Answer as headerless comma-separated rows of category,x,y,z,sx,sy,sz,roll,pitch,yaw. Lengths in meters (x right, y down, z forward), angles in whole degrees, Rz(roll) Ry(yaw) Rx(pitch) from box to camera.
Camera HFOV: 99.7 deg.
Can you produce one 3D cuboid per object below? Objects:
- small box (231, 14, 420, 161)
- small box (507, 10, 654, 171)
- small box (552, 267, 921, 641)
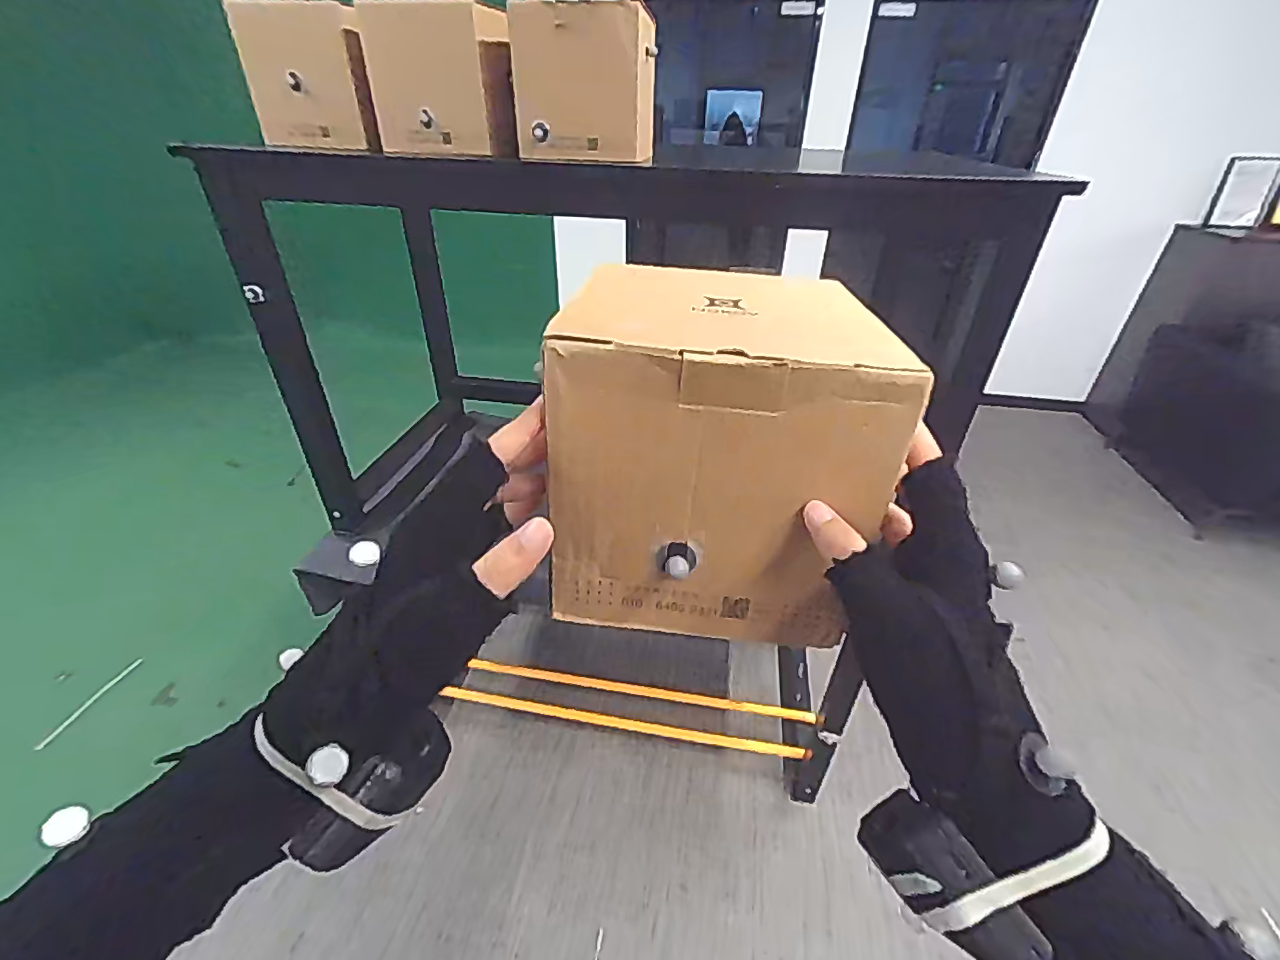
small box,-0.461,-0.593,0.830,0.168,0.176,0.179,7,34,7
small box,-0.072,-0.538,0.763,0.168,0.176,0.179,5,33,6
small box,0.042,-0.027,0.347,0.168,0.176,0.179,5,31,2
